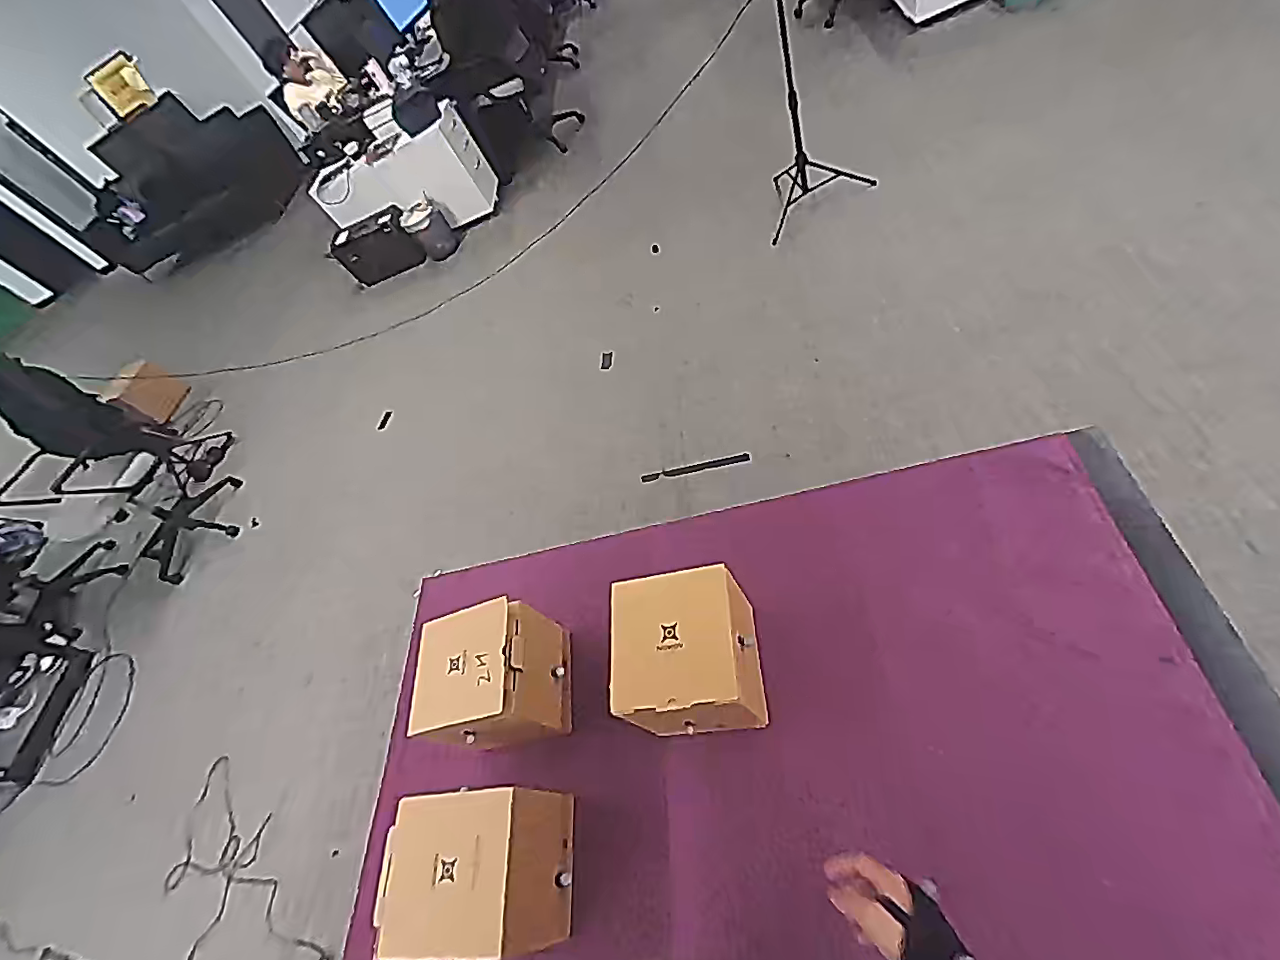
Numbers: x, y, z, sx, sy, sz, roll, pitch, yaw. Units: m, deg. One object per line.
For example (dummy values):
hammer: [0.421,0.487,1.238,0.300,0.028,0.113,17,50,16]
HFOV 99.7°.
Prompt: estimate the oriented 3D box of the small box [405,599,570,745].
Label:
small box: [-0.226,0.307,0.843,0.179,0.176,0.168,-15,54,15]

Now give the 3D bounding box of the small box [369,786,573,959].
small box: [-0.205,0.503,0.703,0.179,0.176,0.168,-14,54,16]
